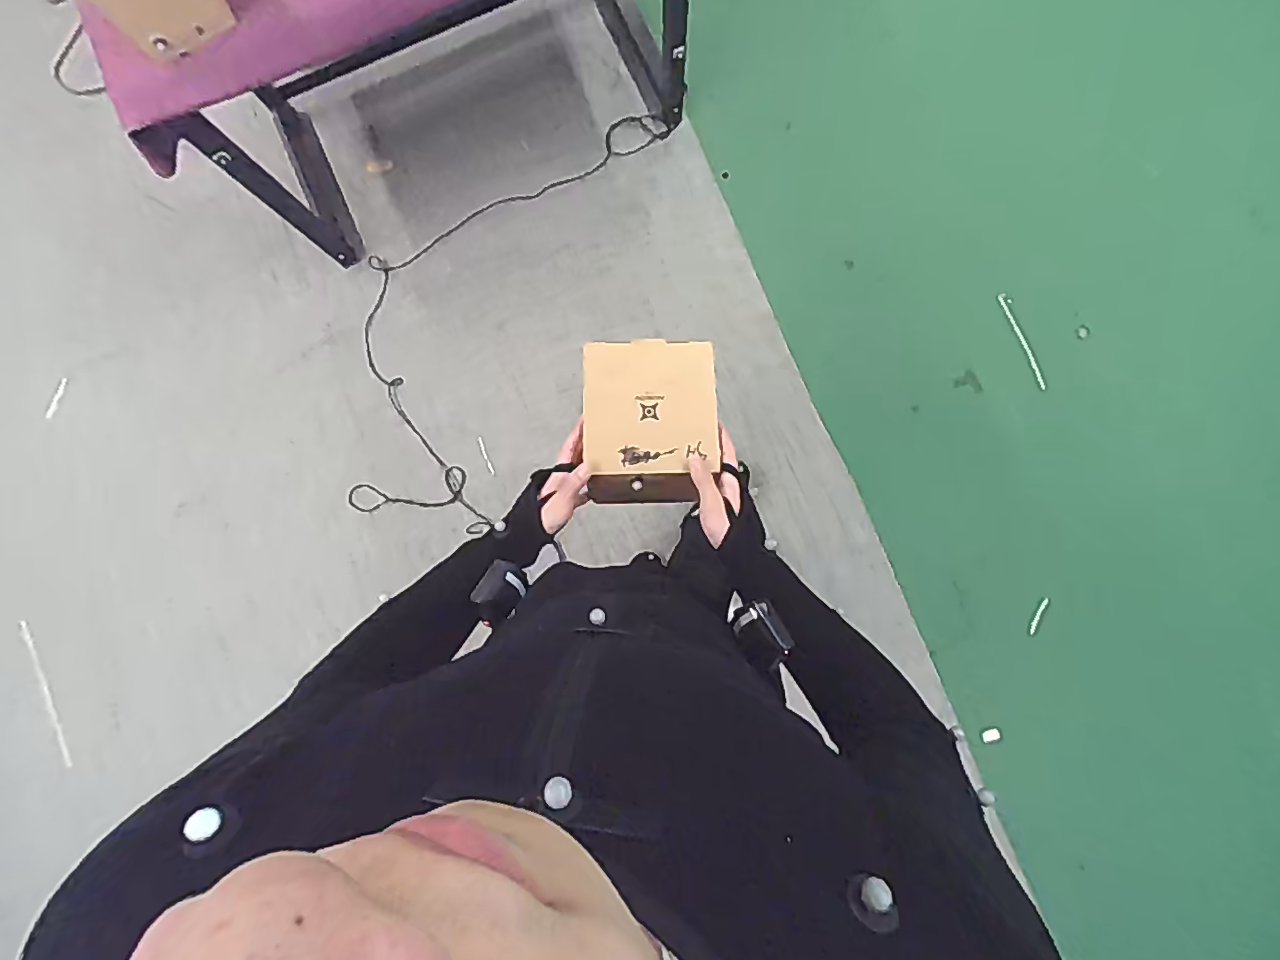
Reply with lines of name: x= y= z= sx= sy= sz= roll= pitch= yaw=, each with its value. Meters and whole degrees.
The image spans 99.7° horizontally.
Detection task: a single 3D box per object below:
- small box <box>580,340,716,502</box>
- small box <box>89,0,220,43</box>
small box: x=0.006 y=-0.073 z=0.737 sx=0.168 sy=0.176 sz=0.179 roll=-1 pitch=77 yaw=-2
small box: x=-0.863 y=-0.888 z=0.905 sx=0.168 sy=0.176 sz=0.179 roll=-27 pitch=84 yaw=-1
